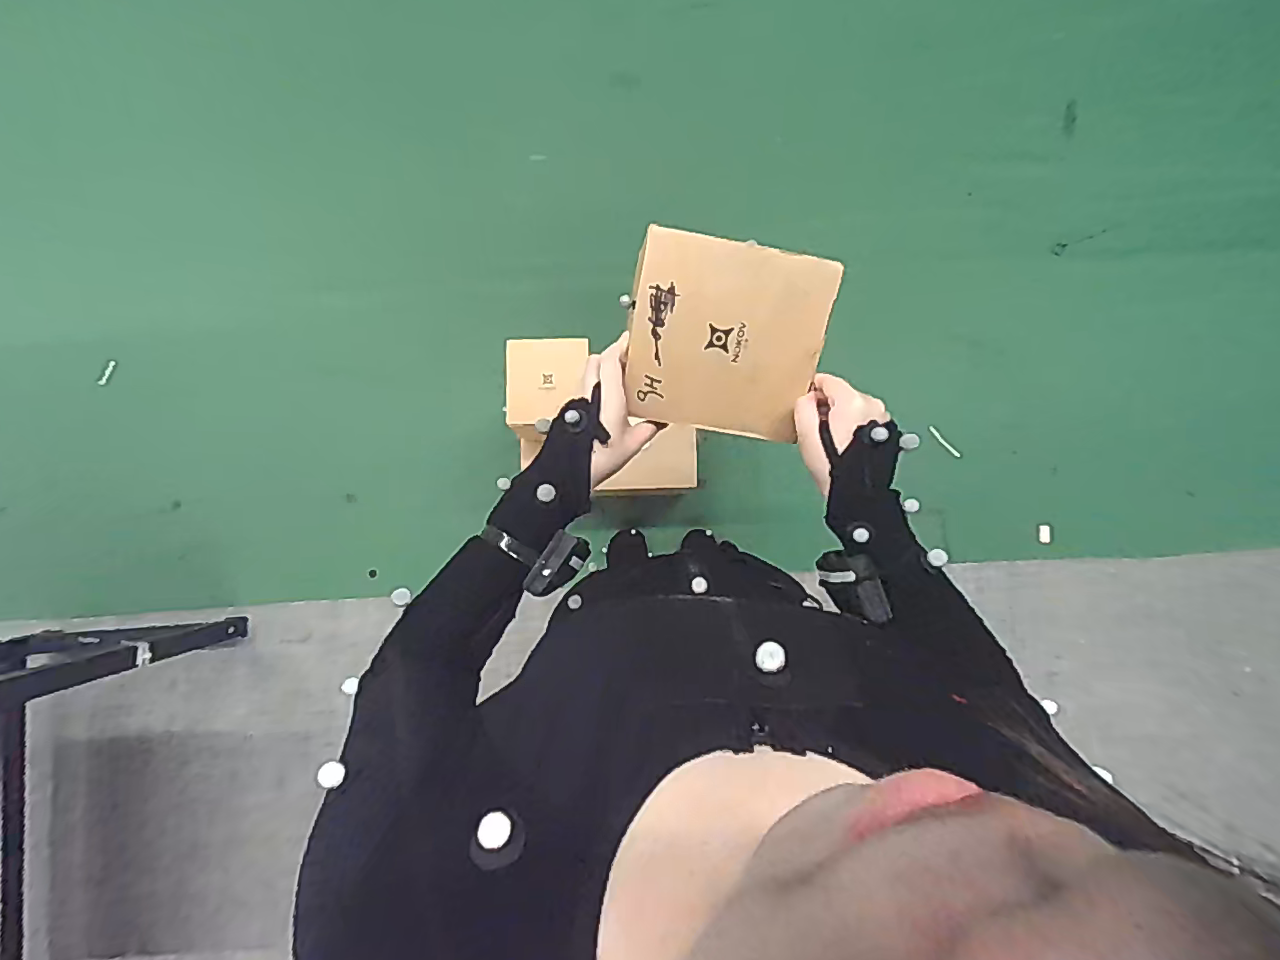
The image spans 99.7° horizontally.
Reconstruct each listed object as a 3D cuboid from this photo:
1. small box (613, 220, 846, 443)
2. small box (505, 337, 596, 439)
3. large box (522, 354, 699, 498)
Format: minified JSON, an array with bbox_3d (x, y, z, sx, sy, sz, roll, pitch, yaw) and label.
[{"bbox_3d":[0.072,-0.147,0.546,0.179,0.176,0.168,9,107,-5],"label":"small box"},{"bbox_3d":[-0.181,-0.187,1.133,0.168,0.176,0.179,-1,86,0],"label":"small box"},{"bbox_3d":[-0.072,-0.122,1.371,0.408,0.320,0.320,-1,87,-1],"label":"large box"}]
